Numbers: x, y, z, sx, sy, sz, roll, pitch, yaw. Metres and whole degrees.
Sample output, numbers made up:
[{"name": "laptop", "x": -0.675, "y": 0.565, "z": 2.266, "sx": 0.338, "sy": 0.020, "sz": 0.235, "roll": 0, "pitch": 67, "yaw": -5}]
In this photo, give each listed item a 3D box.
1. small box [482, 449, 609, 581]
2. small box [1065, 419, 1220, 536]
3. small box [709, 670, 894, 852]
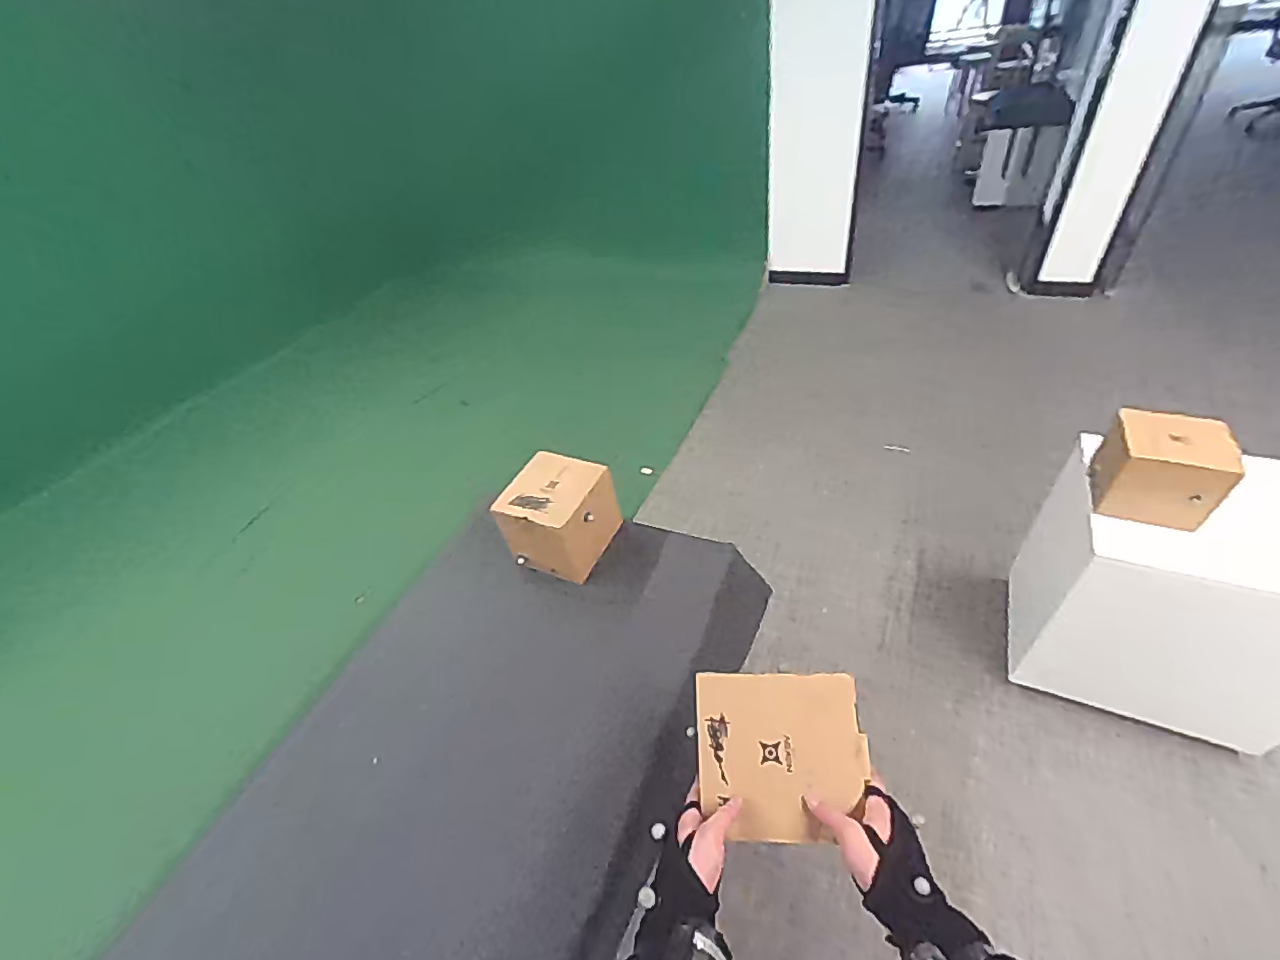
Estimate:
[{"name": "small box", "x": -0.173, "y": 0.070, "z": 1.060, "sx": 0.168, "sy": 0.176, "sz": 0.179, "roll": 14, "pitch": 46, "yaw": 22}, {"name": "small box", "x": 1.049, "y": -0.004, "z": 1.148, "sx": 0.179, "sy": 0.176, "sz": 0.168, "roll": 12, "pitch": 45, "yaw": 20}, {"name": "small box", "x": 0.172, "y": 0.315, "z": 0.636, "sx": 0.179, "sy": 0.176, "sz": 0.168, "roll": -2, "pitch": 67, "yaw": 7}]
